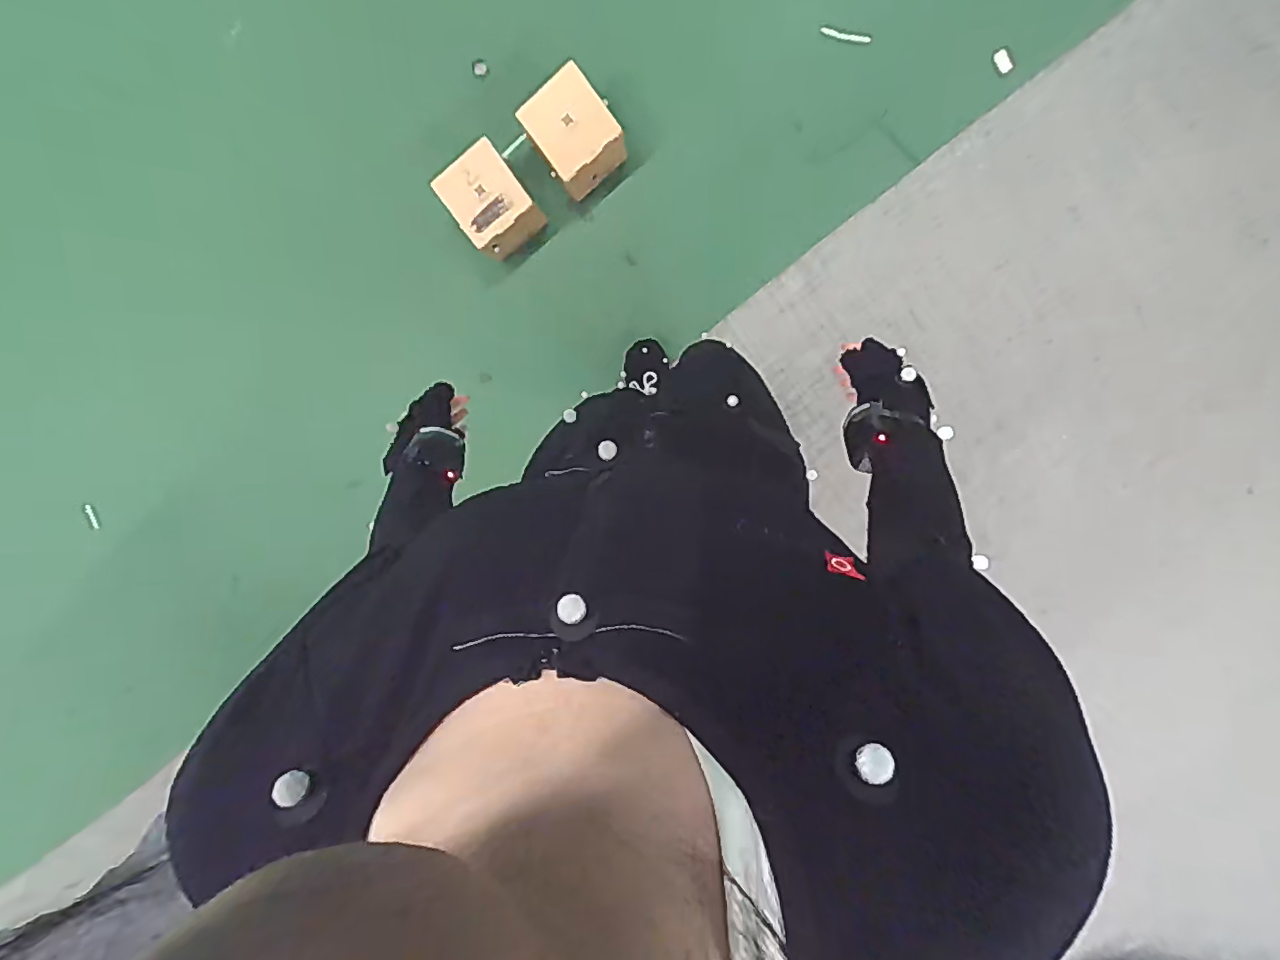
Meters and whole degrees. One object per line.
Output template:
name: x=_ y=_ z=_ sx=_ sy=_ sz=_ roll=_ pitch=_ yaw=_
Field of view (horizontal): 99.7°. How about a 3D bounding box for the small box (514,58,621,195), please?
small box: x=-0.159 y=-0.797 z=1.243 sx=0.168 sy=0.176 sz=0.179 roll=-38 pitch=101 yaw=9
